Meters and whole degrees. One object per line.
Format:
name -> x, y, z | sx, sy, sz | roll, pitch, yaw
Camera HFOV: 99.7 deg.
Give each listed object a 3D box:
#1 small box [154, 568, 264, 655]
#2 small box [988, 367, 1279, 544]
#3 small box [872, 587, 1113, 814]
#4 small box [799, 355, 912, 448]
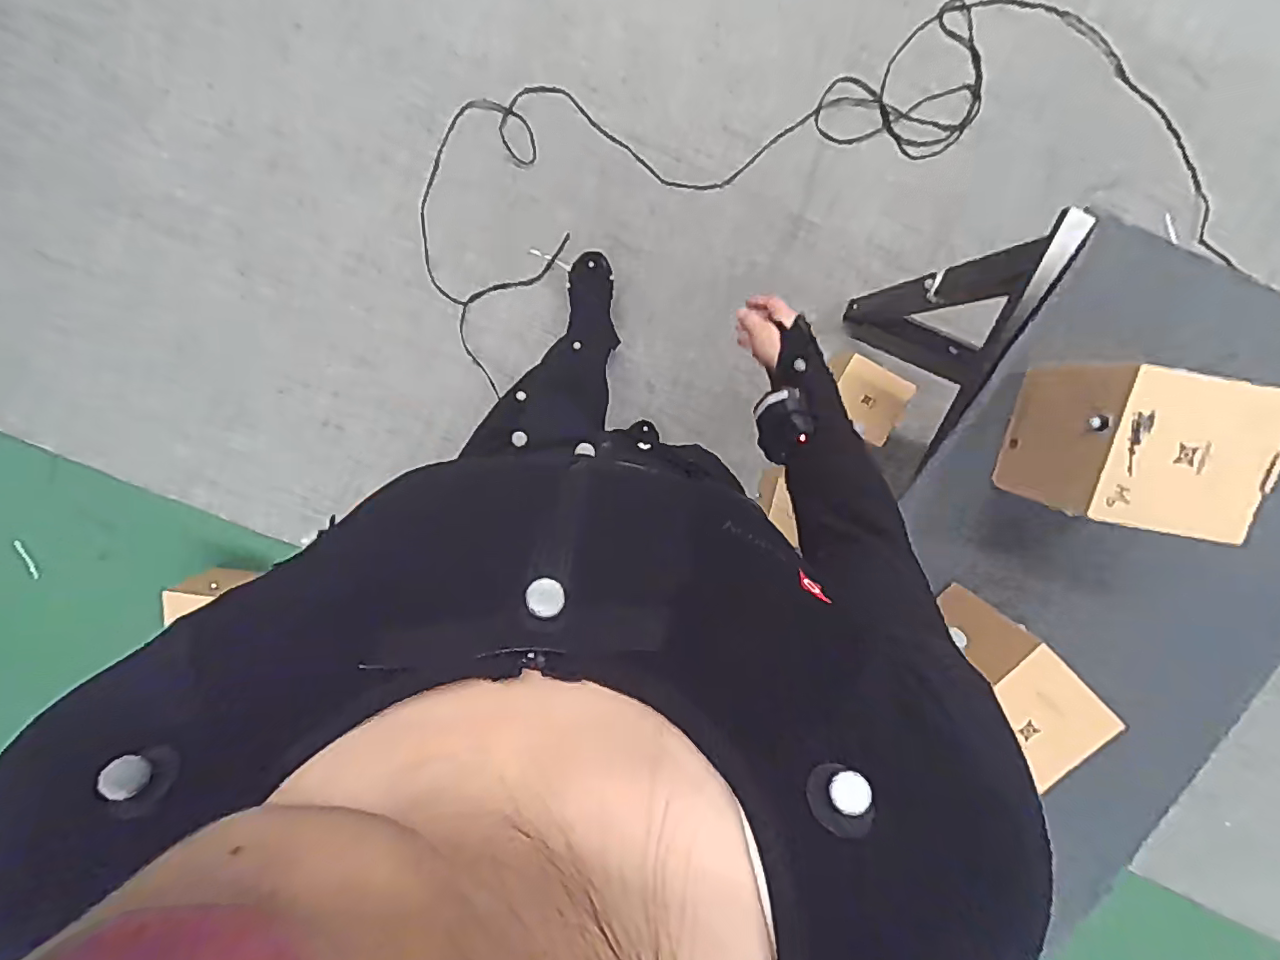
small box -> -1.152, 0.349, 1.460 | 0.179, 0.176, 0.168 | 7, 101, -1
small box -> 0.569, -0.039, 0.643 | 0.179, 0.176, 0.168 | 10, 101, -2
small box -> 0.437, 0.276, 0.709 | 0.168, 0.176, 0.179 | 42, 97, -11
small box -> 0.529, -0.197, 1.357 | 0.179, 0.176, 0.168 | 27, 100, -6
